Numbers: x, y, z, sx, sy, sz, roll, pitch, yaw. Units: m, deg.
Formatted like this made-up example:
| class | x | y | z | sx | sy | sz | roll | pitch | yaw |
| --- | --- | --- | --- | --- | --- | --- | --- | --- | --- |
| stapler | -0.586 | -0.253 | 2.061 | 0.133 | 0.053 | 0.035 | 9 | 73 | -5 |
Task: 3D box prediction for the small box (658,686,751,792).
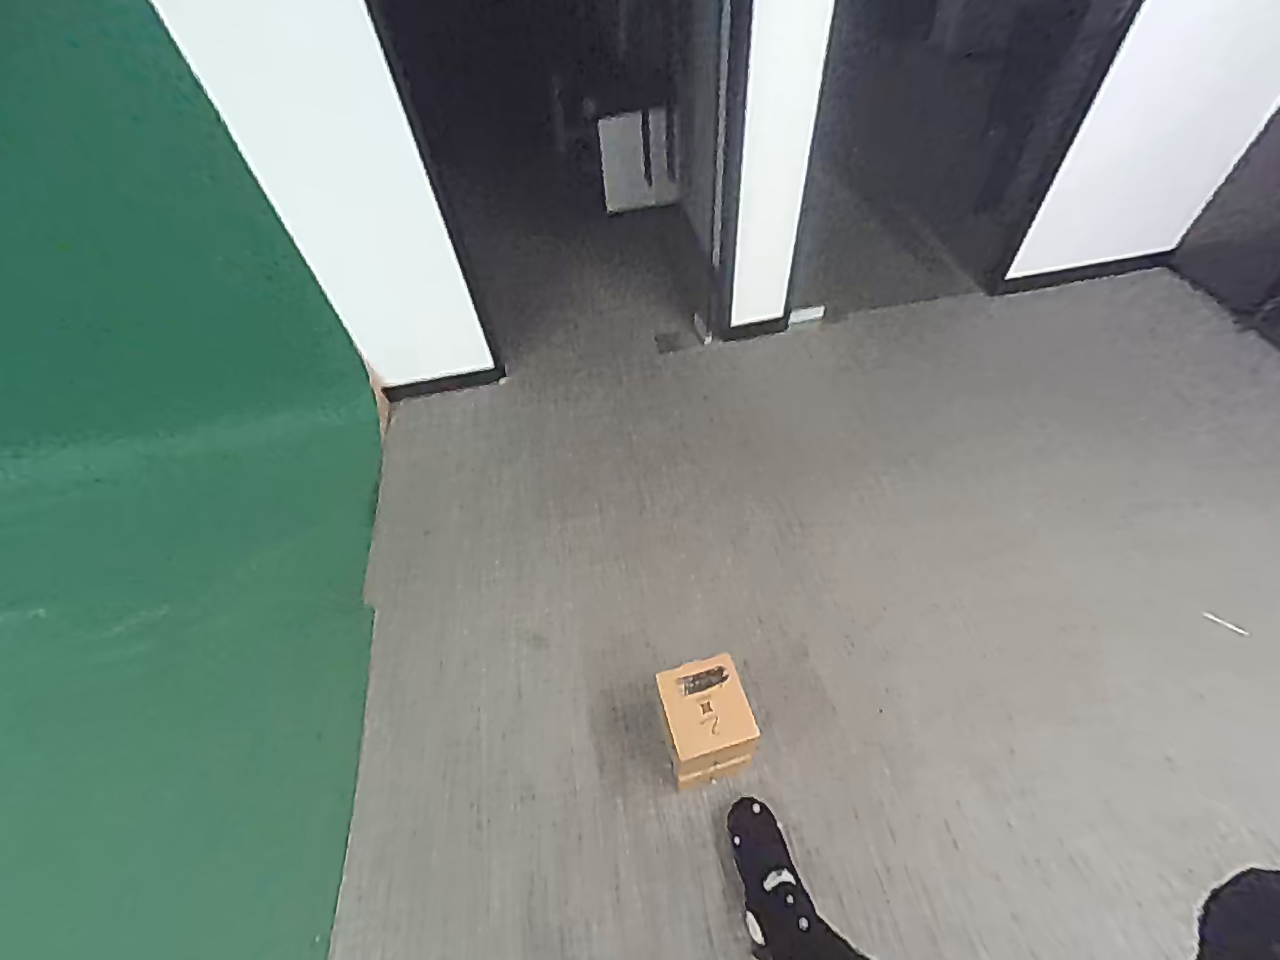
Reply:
| class | x | y | z | sx | sy | sz | roll | pitch | yaw |
| --- | --- | --- | --- | --- | --- | --- | --- | --- | --- |
| small box | 0.147 | 0.613 | 1.267 | 0.168 | 0.176 | 0.179 | -15 | 52 | -7 |
